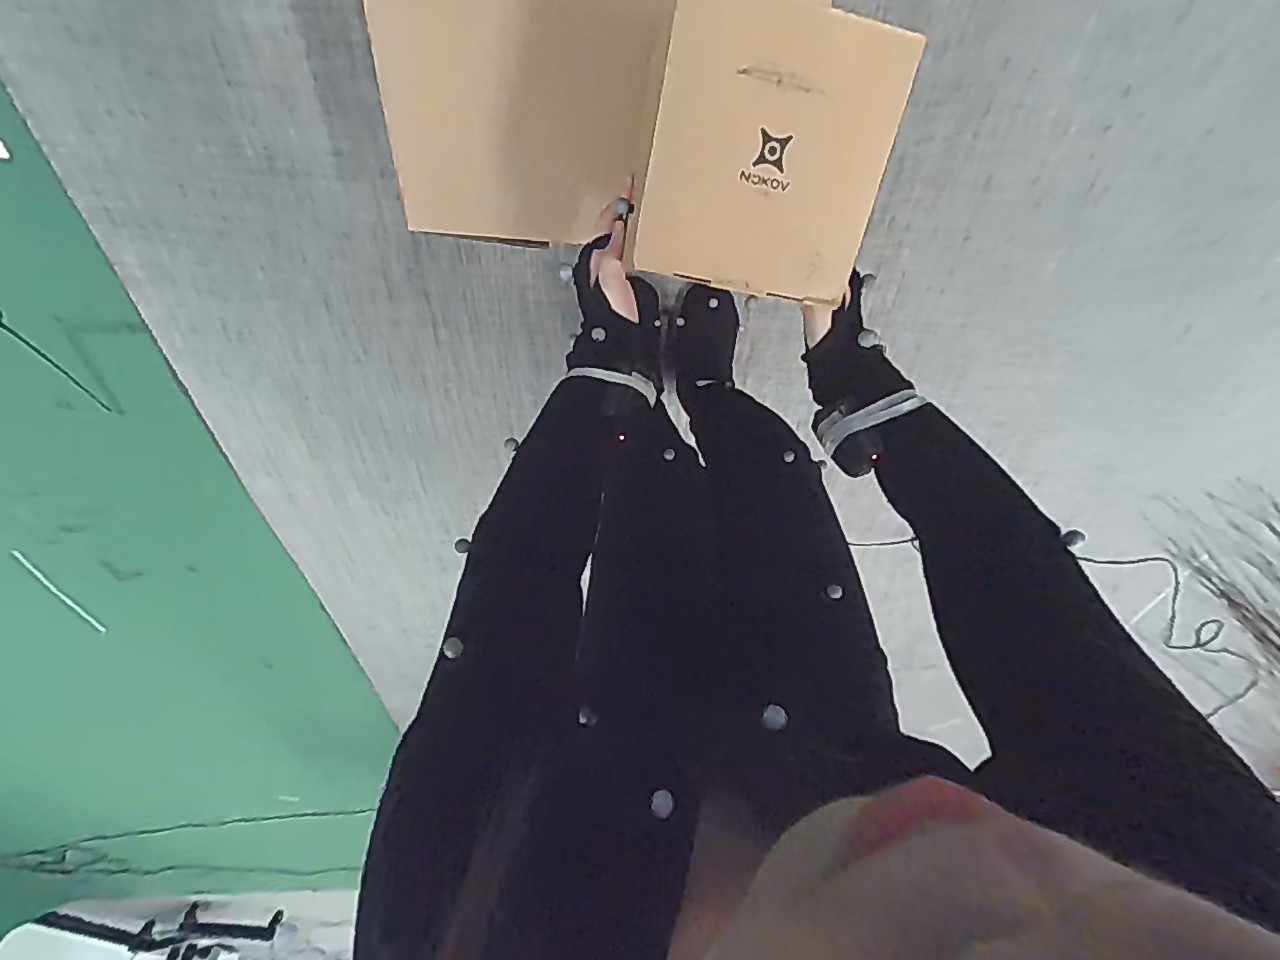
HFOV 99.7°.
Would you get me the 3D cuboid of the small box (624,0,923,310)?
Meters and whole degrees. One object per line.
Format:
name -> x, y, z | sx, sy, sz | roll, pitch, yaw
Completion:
small box -> 0.081, -0.252, 0.440 | 0.168, 0.176, 0.179 | 8, 112, -9
